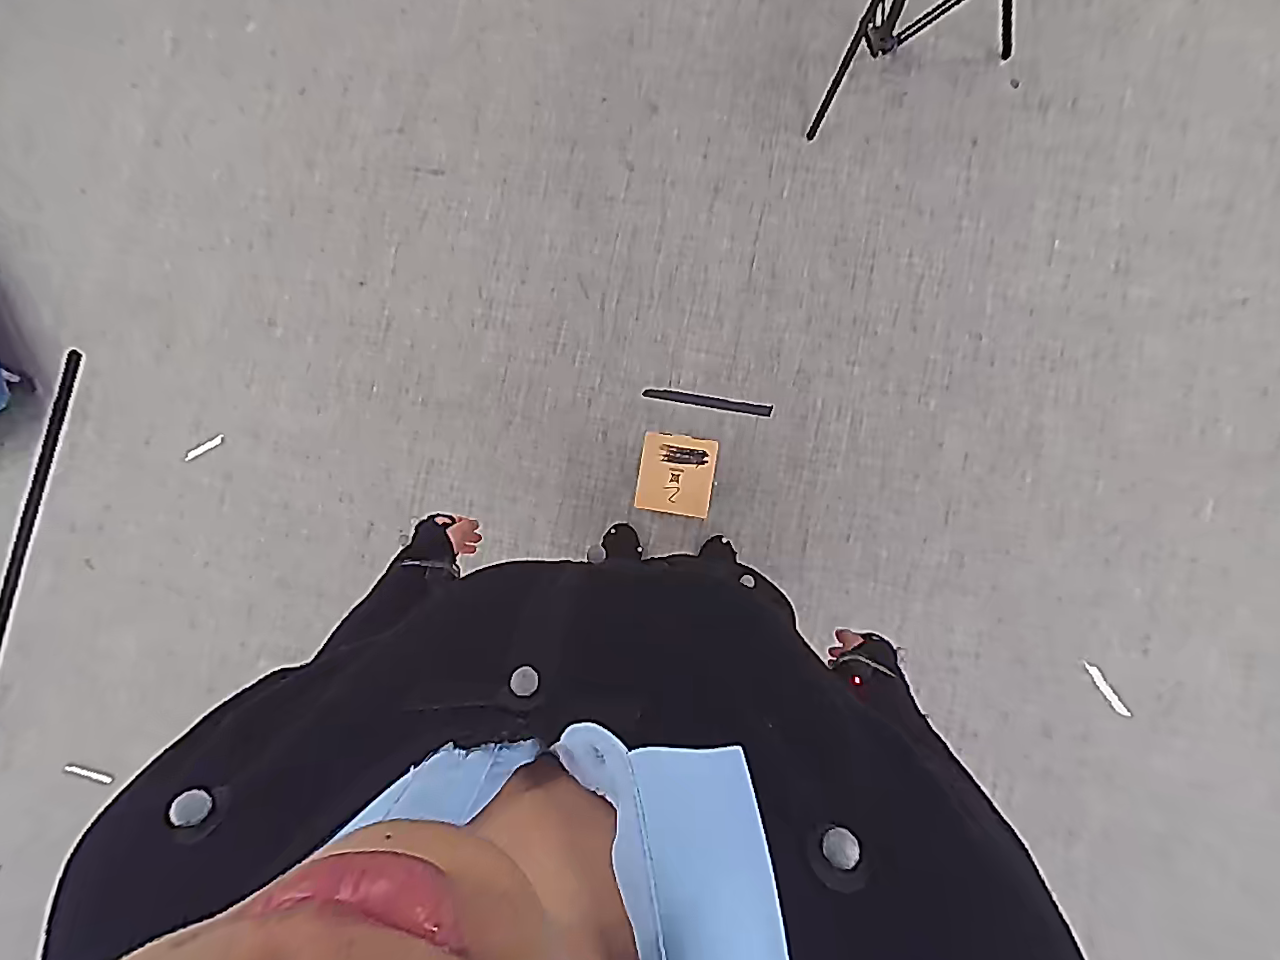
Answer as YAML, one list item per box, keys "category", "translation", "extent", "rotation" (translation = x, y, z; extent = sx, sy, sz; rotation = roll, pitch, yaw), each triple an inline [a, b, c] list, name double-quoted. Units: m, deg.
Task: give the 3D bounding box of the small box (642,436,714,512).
- category: "small box"
  translation: [0.101, -0.011, 1.428]
  extent: [0.168, 0.176, 0.179]
  rotation: [6, 86, 6]
